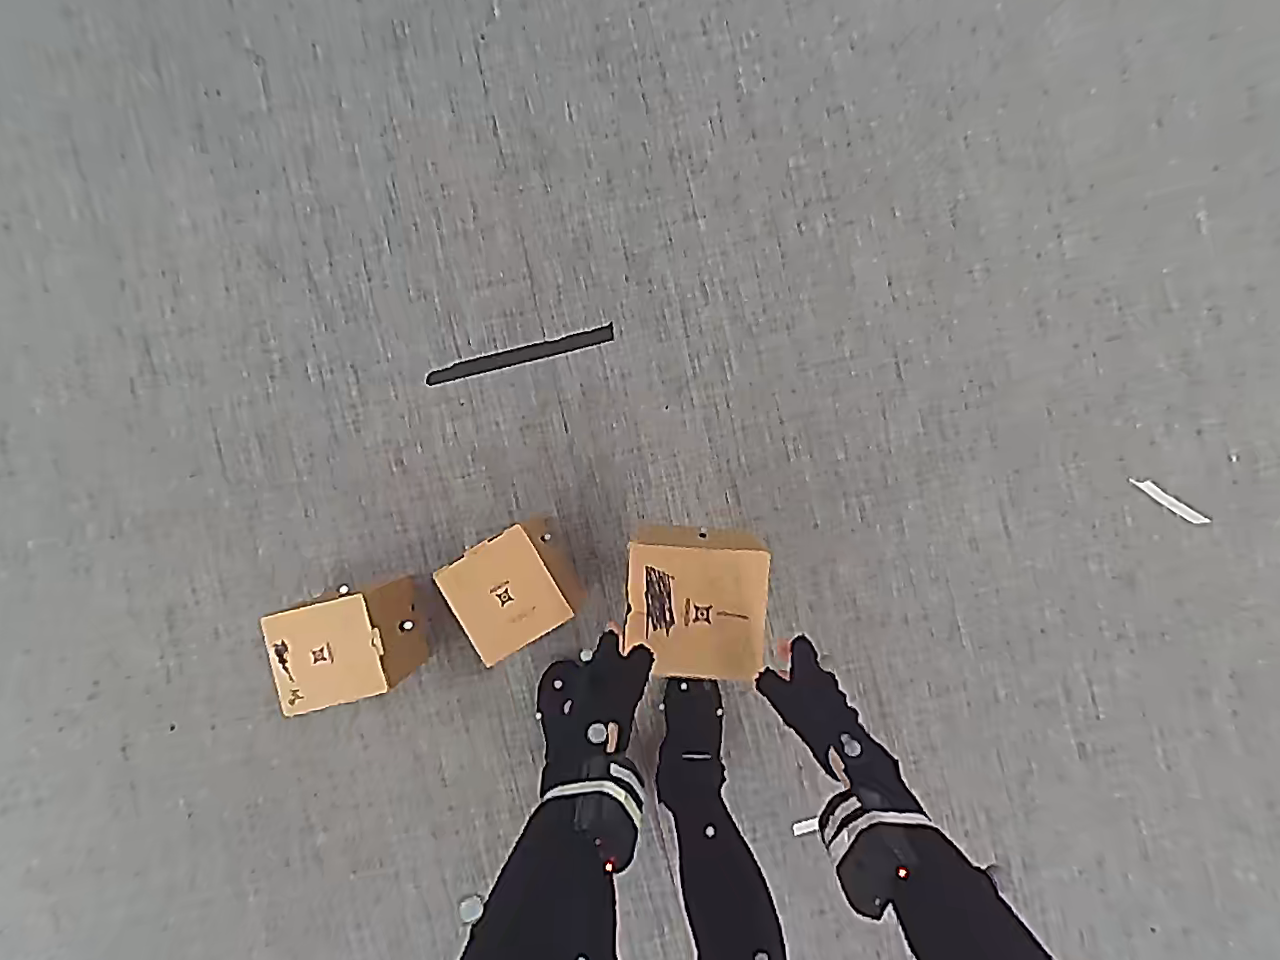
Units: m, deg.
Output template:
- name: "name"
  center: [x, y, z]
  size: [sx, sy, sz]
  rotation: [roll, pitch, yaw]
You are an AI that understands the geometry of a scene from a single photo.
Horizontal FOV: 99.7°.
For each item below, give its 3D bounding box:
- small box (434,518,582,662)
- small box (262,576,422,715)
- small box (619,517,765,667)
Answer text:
- name: "small box"
  center: [-0.217, 0.177, 0.937]
  size: [0.168, 0.176, 0.179]
  rotation: [-32, 91, 1]
- name: "small box"
  center: [-0.498, 0.274, 0.936]
  size: [0.179, 0.176, 0.168]
  rotation: [-14, 90, 0]
- name: "small box"
  center: [0.070, 0.146, 0.762]
  size: [0.179, 0.176, 0.168]
  rotation: [4, 93, 3]
